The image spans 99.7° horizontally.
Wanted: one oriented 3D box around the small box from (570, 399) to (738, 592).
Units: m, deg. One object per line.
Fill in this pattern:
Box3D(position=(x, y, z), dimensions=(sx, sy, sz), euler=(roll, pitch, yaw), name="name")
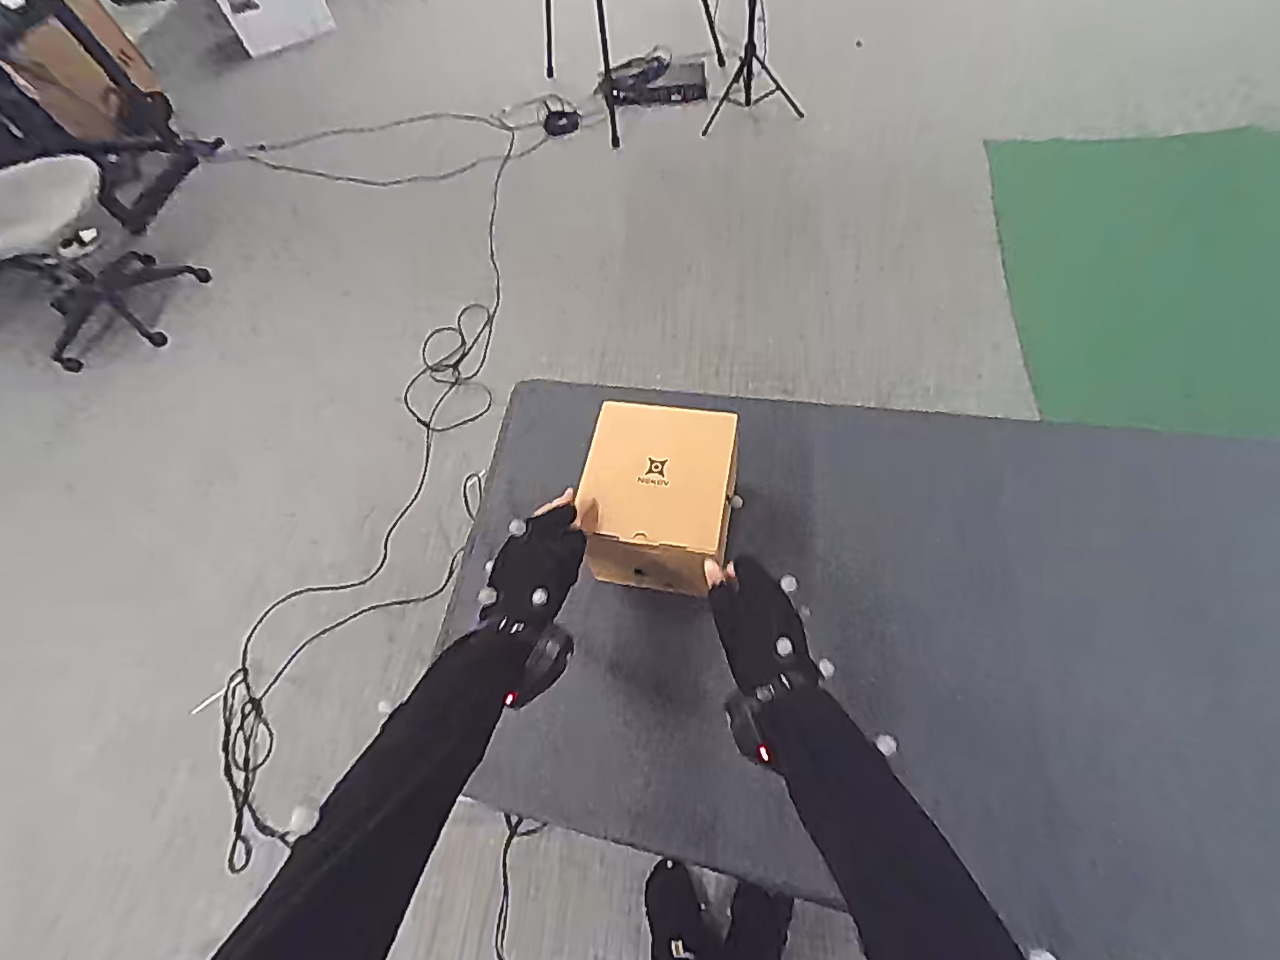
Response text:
Box3D(position=(0.027, 0.024, 0.681), dimensions=(0.168, 0.176, 0.179), euler=(7, 64, 11), name="small box")
